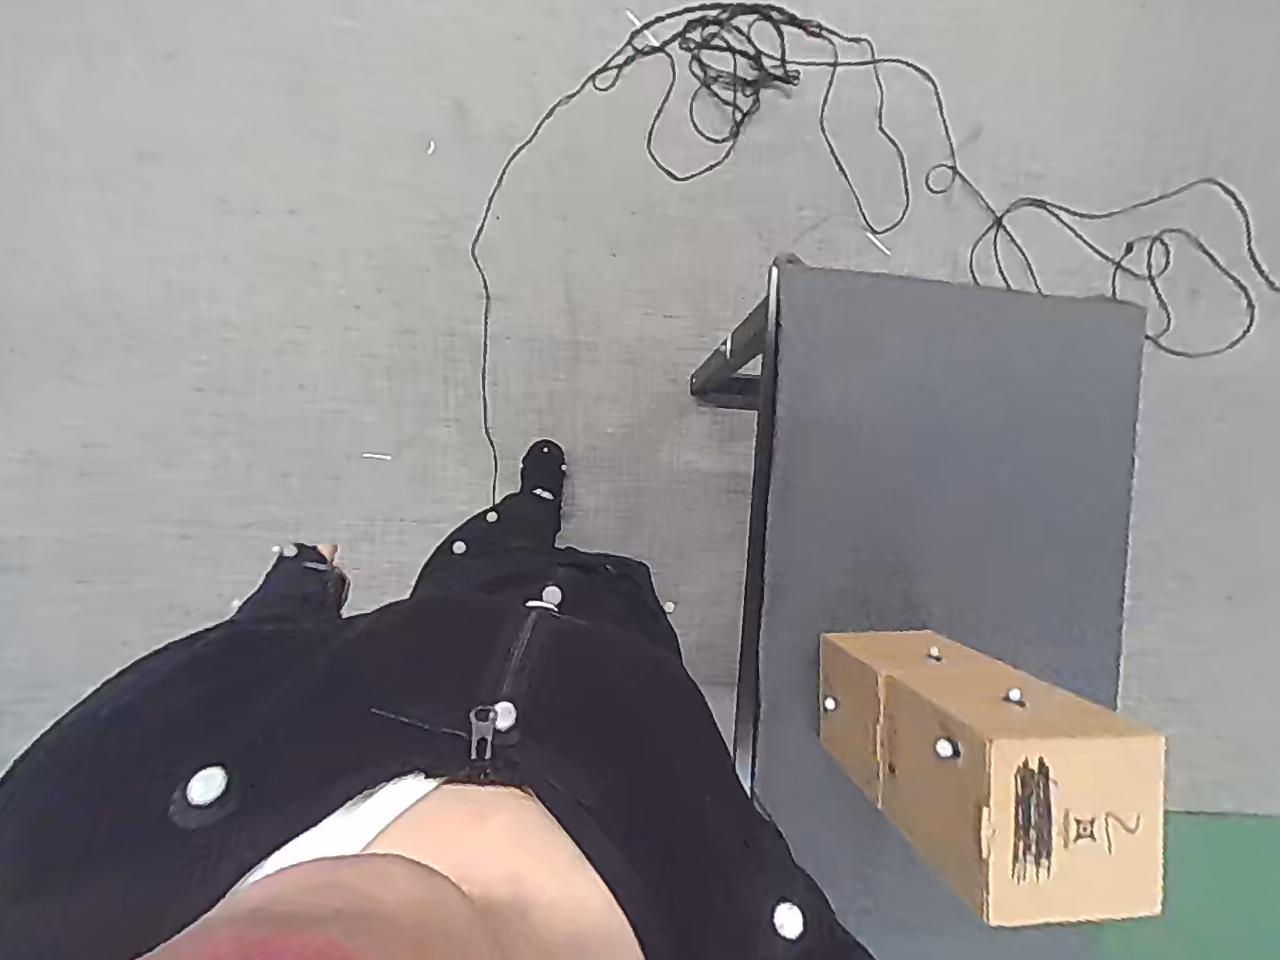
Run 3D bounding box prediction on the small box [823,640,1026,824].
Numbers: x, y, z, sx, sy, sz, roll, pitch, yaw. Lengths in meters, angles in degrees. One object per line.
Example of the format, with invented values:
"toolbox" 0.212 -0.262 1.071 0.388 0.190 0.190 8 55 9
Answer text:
"small box" 0.360 0.314 0.708 0.179 0.176 0.168 0 89 -6
